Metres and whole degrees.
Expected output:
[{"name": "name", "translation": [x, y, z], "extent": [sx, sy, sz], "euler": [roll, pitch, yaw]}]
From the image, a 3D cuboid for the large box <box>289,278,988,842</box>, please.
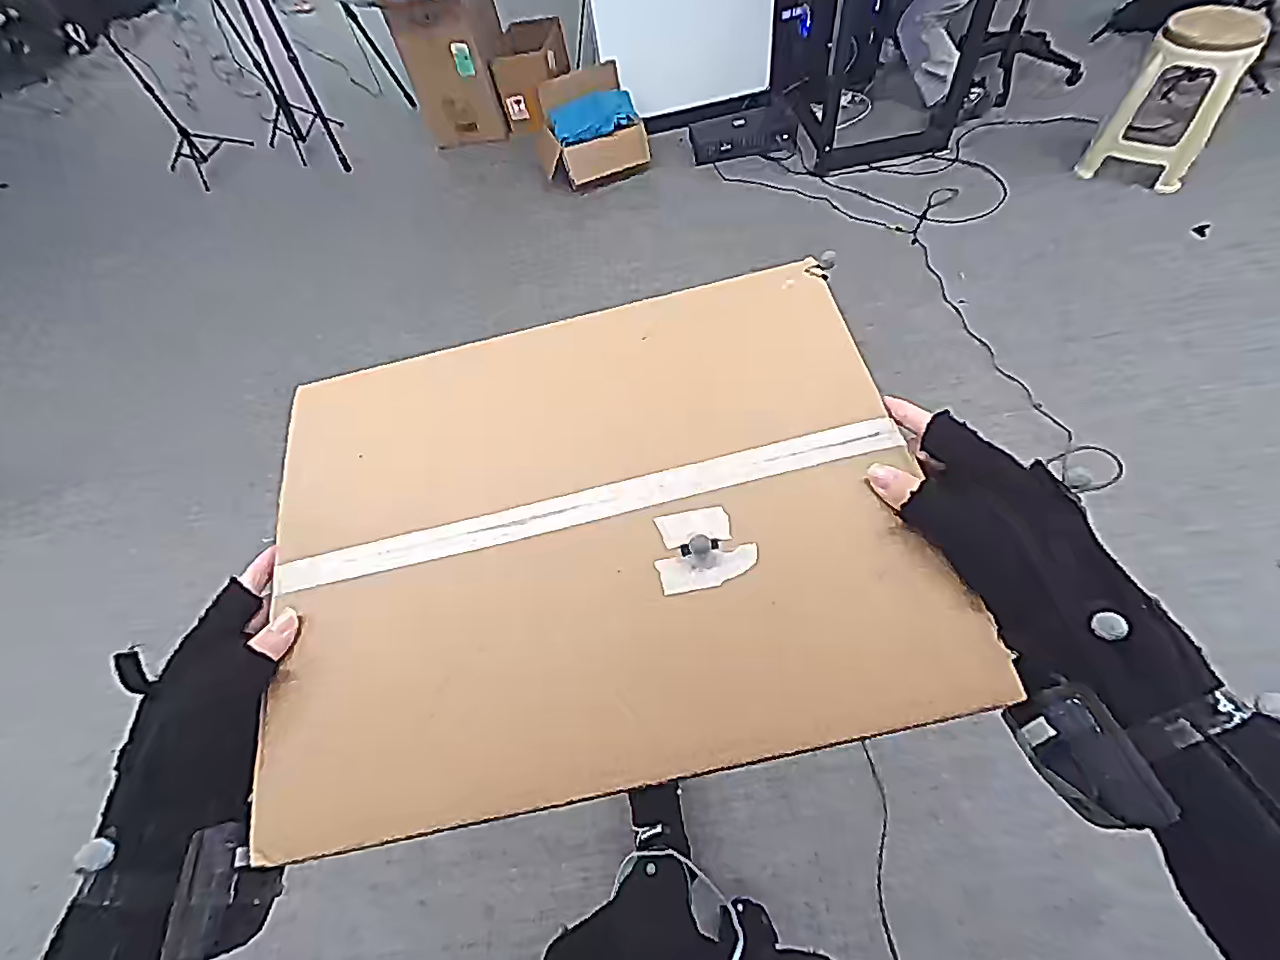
[{"name": "large box", "translation": [-0.015, 0.084, 0.493], "extent": [0.408, 0.320, 0.320], "euler": [-13, 64, 1]}]
